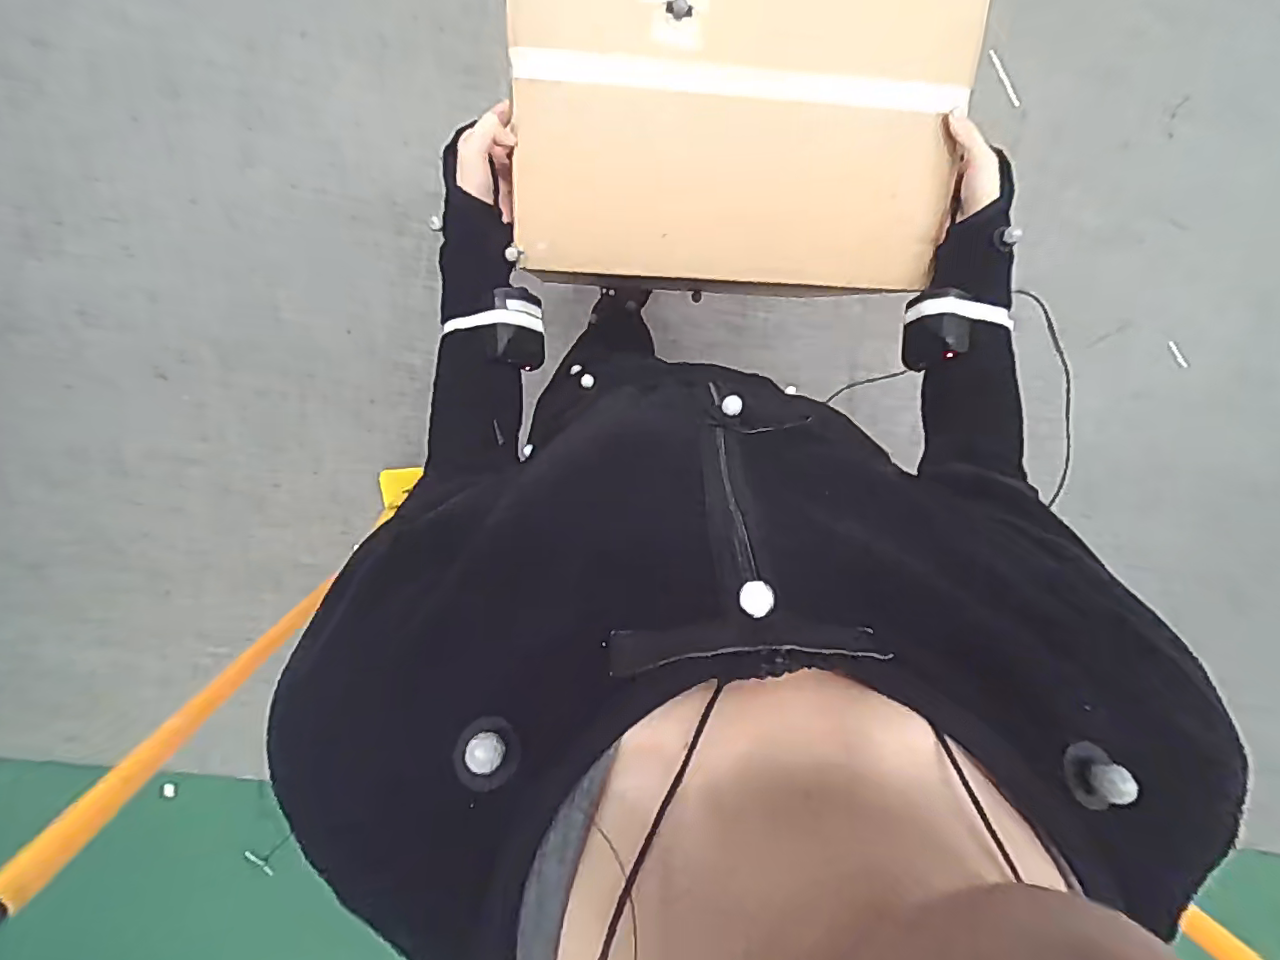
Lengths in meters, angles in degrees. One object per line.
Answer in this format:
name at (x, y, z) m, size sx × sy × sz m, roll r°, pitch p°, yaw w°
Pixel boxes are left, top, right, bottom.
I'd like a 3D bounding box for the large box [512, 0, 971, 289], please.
large box at (0.079, -0.389, 0.621) m, size 0.408 × 0.320 × 0.320 m, roll 1°, pitch 106°, yaw -5°
